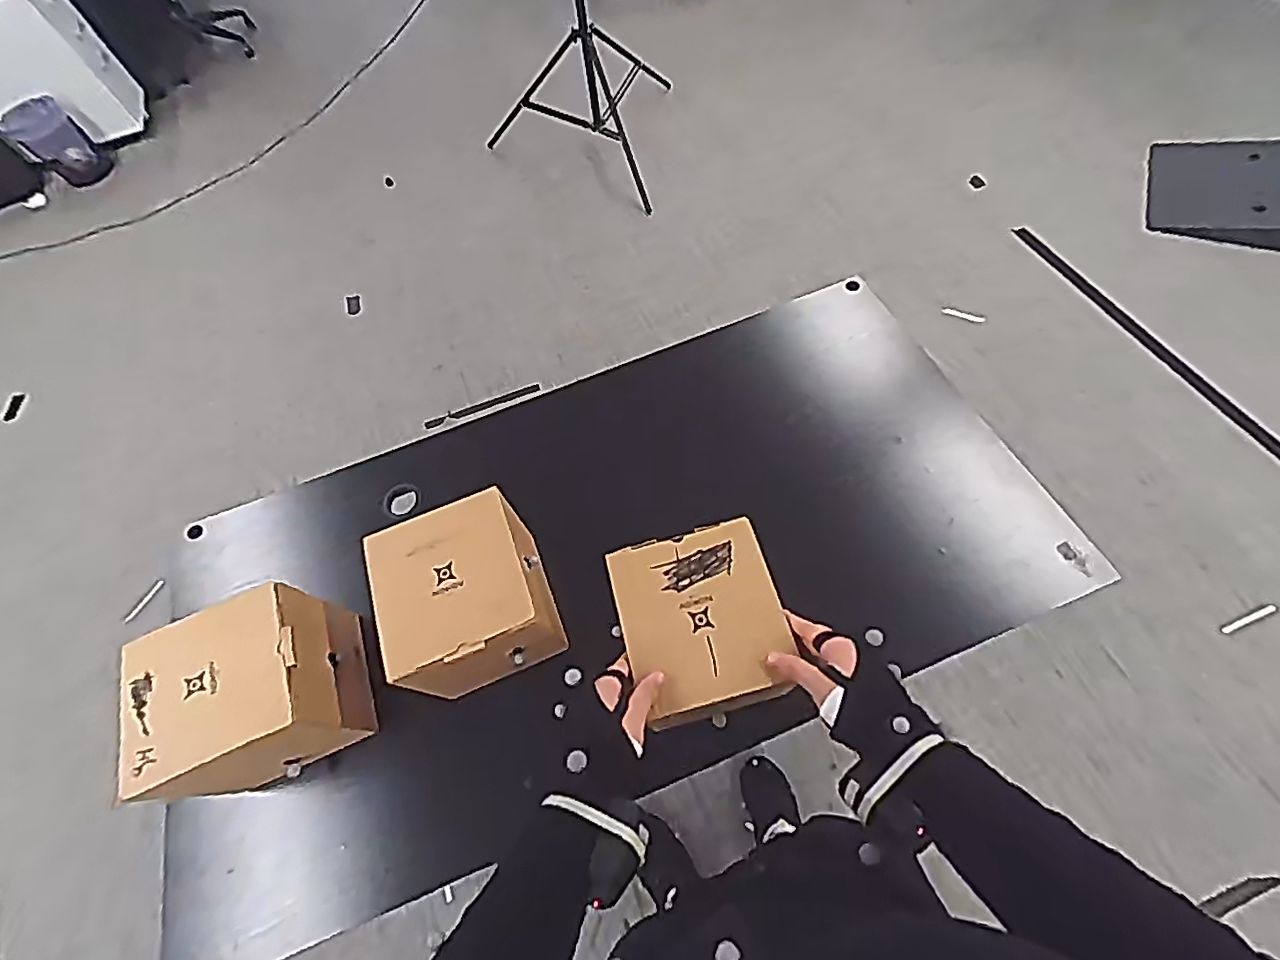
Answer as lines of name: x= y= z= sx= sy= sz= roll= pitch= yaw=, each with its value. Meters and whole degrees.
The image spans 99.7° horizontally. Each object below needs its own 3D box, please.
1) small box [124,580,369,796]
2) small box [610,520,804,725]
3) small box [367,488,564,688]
small box: x=-0.446 y=0.246 z=0.640 sx=0.179 sy=0.176 sz=0.168 roll=-23 pitch=63 yaw=-8
small box: x=0.068 y=0.172 z=0.628 sx=0.168 sy=0.176 sz=0.179 roll=-14 pitch=63 yaw=-2
small box: x=-0.207 y=0.143 z=0.672 sx=0.168 sy=0.176 sz=0.179 roll=-22 pitch=62 yaw=-7
